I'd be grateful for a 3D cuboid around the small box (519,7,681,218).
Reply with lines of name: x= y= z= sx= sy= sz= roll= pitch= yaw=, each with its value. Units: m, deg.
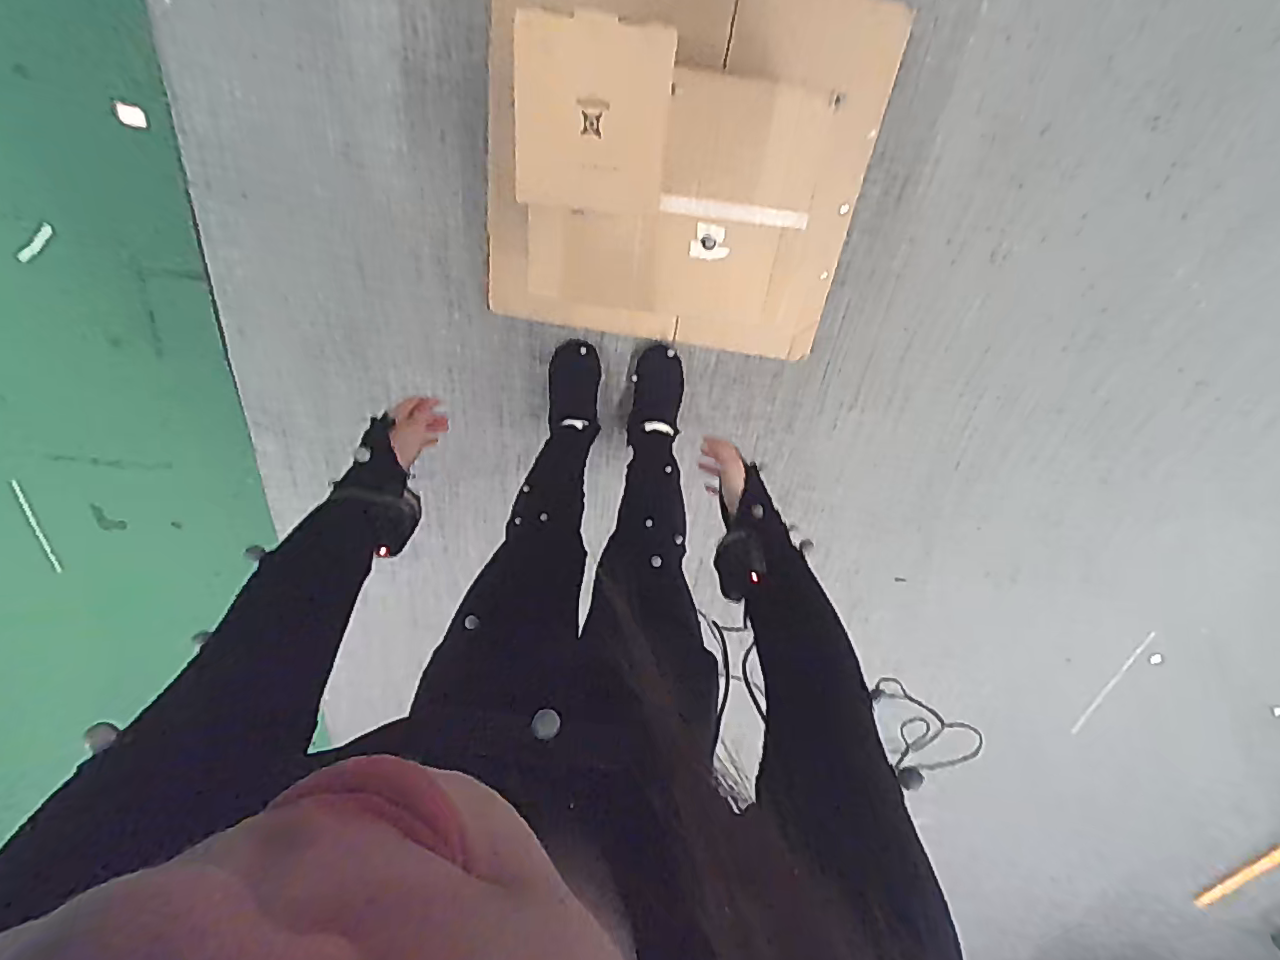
small box: x=-0.048 y=-0.423 z=0.648 sx=0.168 sy=0.176 sz=0.179 roll=5 pitch=119 yaw=-2
